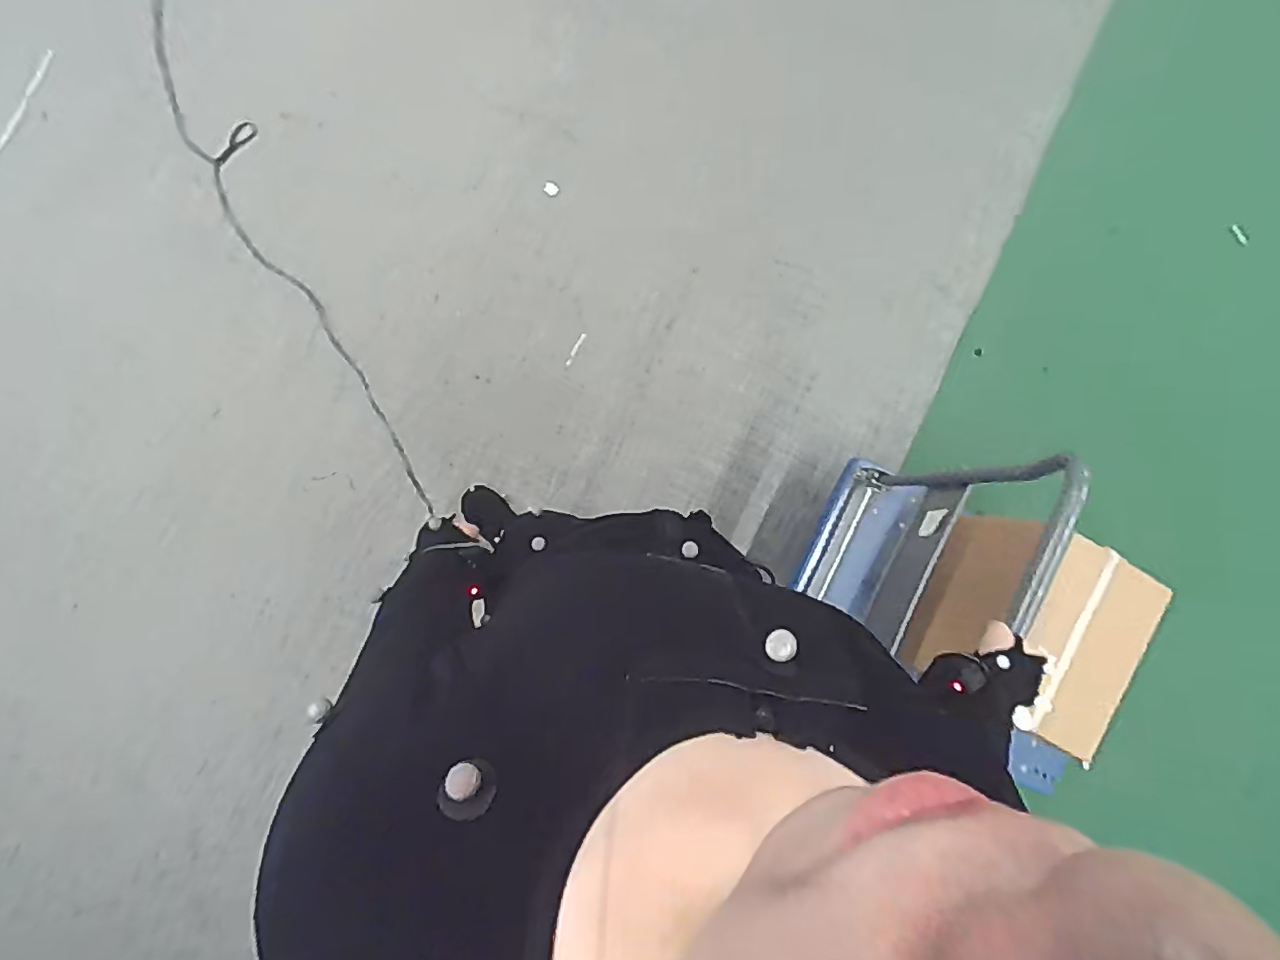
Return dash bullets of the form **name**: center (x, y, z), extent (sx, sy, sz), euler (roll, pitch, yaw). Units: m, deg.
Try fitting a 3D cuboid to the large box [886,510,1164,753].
- **large box**: center (0.861, 0.318, 1.256), extent (0.320, 0.320, 0.408), euler (29, 87, -3)
